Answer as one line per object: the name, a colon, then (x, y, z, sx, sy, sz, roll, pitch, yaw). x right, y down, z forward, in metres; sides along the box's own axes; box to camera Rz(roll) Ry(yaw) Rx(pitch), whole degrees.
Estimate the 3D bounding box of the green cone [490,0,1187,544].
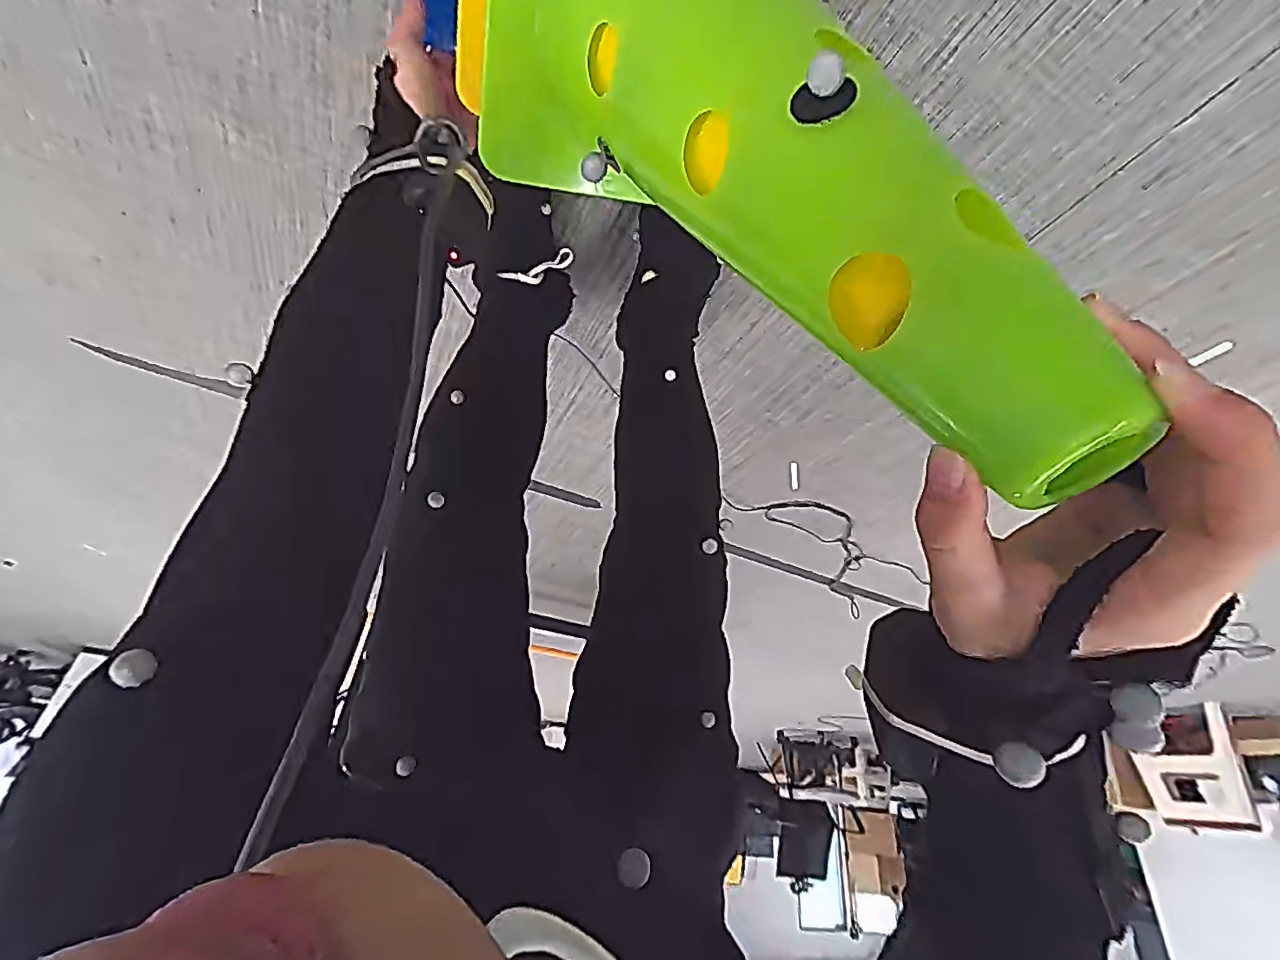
green cone: (0.066, -0.137, 0.234, 0.200, 0.368, 0.202, -4, 143, -23)
